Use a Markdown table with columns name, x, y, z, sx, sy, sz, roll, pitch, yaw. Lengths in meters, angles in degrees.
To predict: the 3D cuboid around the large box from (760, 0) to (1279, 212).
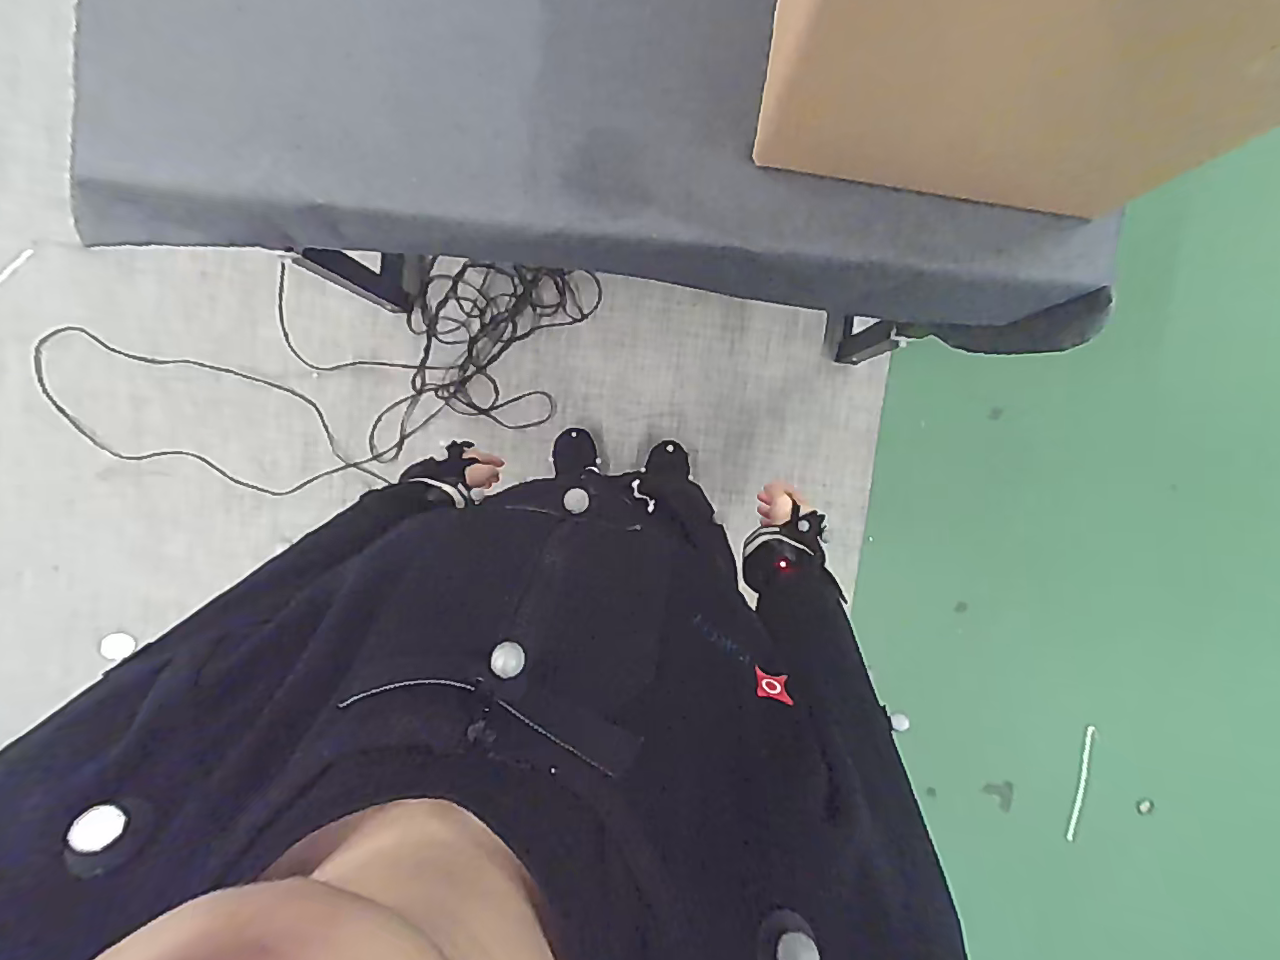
| name | x | y | z | sx | sy | sz | roll | pitch | yaw |
| --- | --- | --- | --- | --- | --- | --- | --- | --- | --- |
| large box | 0.349 | -0.472 | 0.461 | 0.408 | 0.320 | 0.320 | 9 | 94 | -1 |
